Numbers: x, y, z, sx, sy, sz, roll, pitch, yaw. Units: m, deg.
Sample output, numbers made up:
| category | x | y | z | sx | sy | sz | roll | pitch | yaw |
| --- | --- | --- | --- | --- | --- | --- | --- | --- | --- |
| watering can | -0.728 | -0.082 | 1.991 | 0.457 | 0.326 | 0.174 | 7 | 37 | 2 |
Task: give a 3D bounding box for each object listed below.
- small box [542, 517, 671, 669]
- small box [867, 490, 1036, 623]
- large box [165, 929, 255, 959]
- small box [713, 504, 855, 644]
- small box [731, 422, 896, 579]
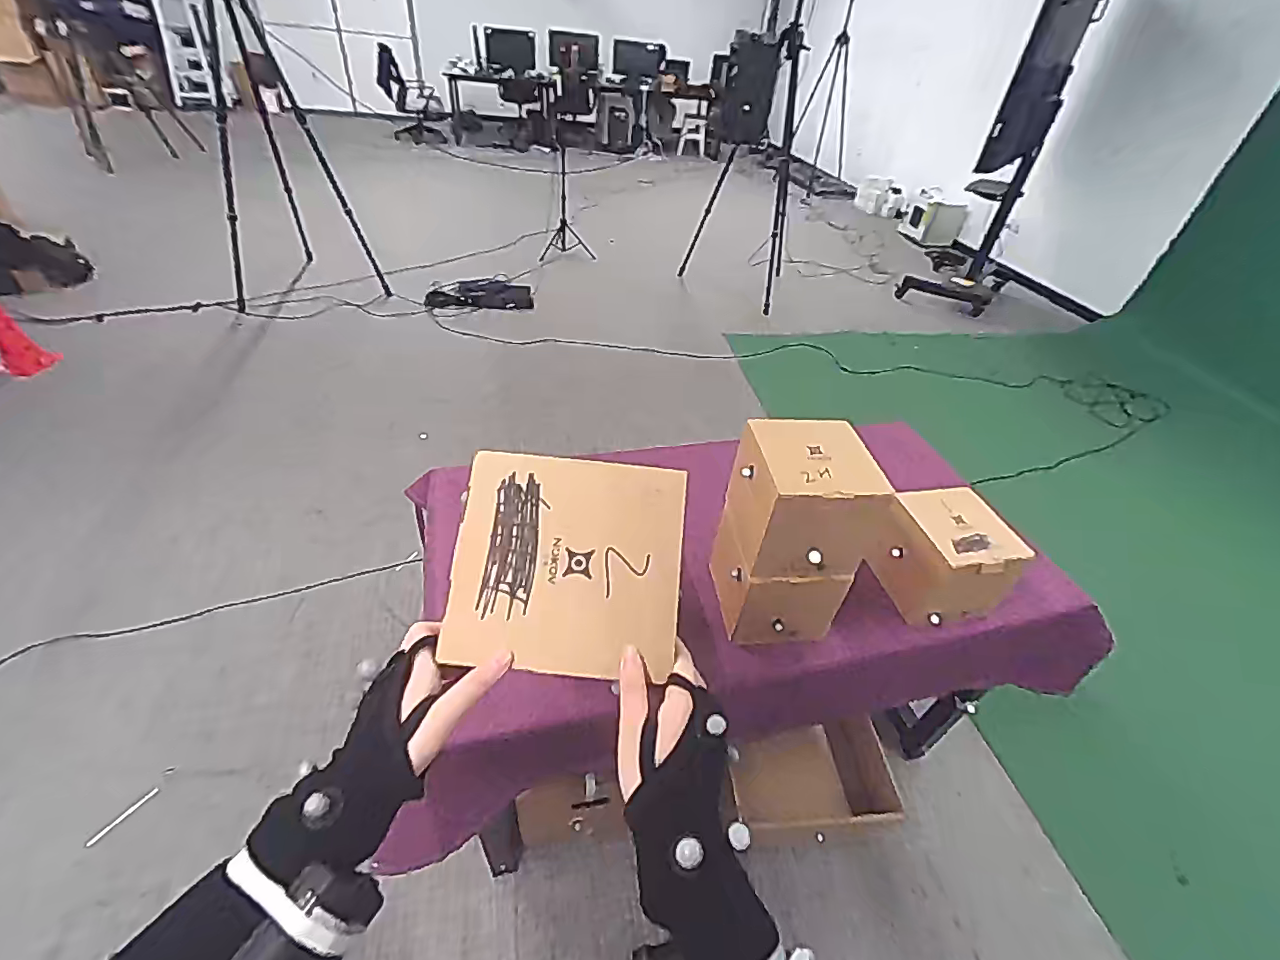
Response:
| category | x | y | z | sx | sy | sz | roll | pitch | yaw |
| --- | --- | --- | --- | --- | --- | --- | --- | --- | --- |
| small box | -0.059 | 0.180 | 0.857 | 0.179 | 0.176 | 0.168 | -4 | 42 | -11 |
| small box | 0.547 | 0.142 | 0.978 | 0.168 | 0.176 | 0.179 | -4 | 41 | -11 |
| large box | -0.723 | 1.025 | 0.812 | 0.320 | 0.320 | 0.408 | 25 | 43 | 19 |
| small box | 0.231 | 0.158 | 0.923 | 0.168 | 0.176 | 0.179 | 0 | 42 | -8 |
| small box | 0.245 | 0.030 | 0.820 | 0.168 | 0.176 | 0.179 | 0 | 41 | -7 |
